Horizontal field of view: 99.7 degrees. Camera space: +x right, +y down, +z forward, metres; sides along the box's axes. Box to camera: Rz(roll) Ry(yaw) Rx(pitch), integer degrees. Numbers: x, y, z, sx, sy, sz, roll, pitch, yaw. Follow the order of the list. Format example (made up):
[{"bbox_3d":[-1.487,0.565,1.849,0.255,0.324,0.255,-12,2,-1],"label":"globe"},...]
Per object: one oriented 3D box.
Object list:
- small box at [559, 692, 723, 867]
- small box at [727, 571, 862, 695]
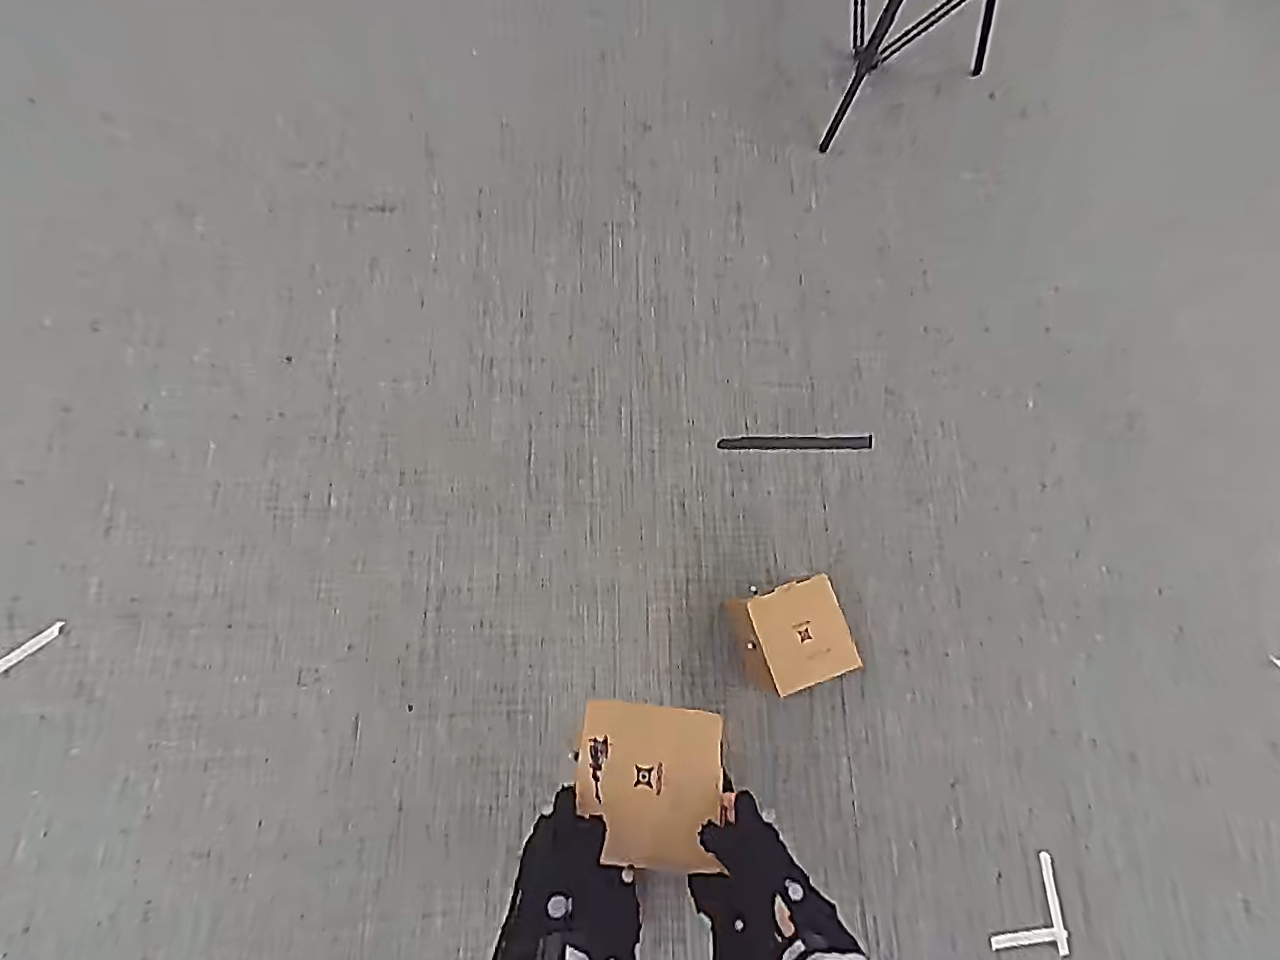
[{"bbox_3d":[-0.002,0.388,0.694,0.179,0.176,0.168,10,53,-5],"label":"small box"},{"bbox_3d":[0.283,0.288,1.038,0.168,0.176,0.179,-18,79,-9],"label":"small box"}]
